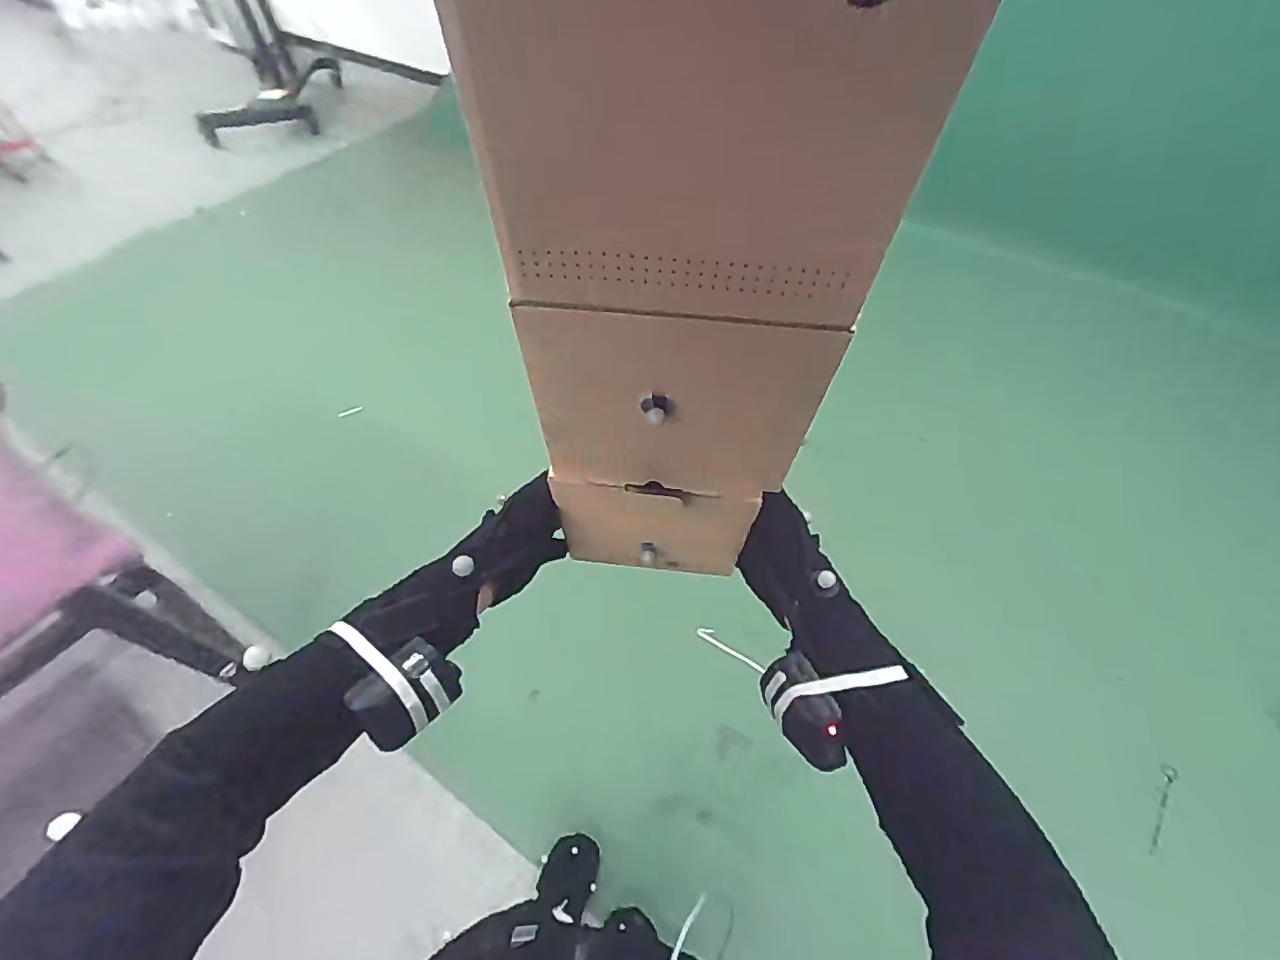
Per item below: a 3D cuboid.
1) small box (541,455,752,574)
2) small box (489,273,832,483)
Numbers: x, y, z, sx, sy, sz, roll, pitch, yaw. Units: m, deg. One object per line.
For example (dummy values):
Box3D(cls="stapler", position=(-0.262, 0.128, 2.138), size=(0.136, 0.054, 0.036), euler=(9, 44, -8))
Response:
Box3D(cls="small box", position=(0.013, -0.027, 0.520), size=(0.168, 0.176, 0.179), euler=(5, 60, 4))
Box3D(cls="small box", position=(0.019, -0.113, 0.377), size=(0.179, 0.176, 0.168), euler=(8, 58, 4))
